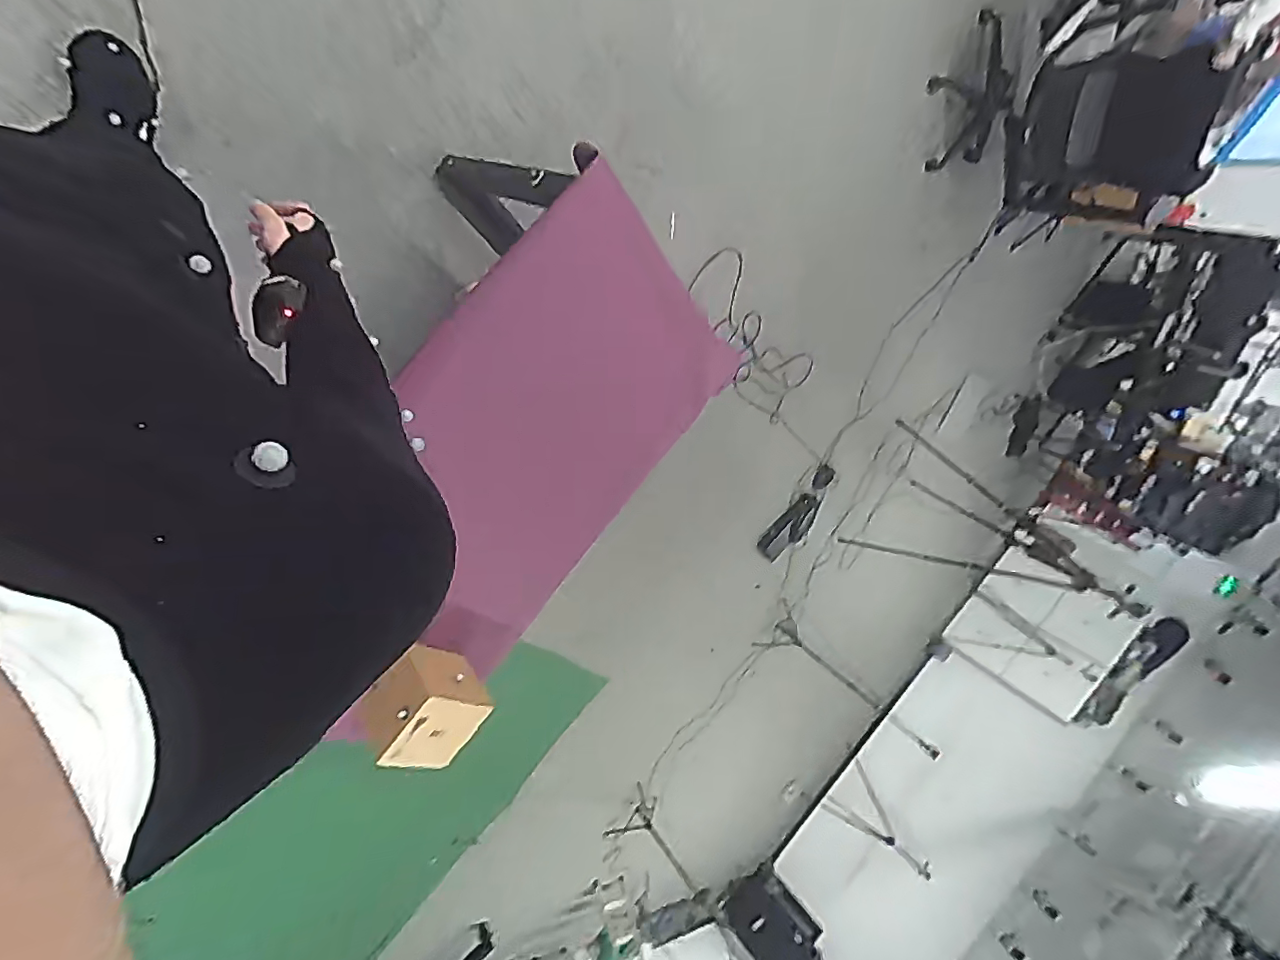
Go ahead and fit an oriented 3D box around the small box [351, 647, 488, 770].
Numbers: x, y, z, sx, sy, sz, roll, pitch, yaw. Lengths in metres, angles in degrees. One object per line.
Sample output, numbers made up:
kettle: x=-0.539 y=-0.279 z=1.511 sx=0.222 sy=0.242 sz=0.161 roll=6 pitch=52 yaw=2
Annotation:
small box: x=-0.463 y=0.477 z=1.136 sx=0.168 sy=0.176 sz=0.179 roll=-52 pitch=140 yaw=-3
